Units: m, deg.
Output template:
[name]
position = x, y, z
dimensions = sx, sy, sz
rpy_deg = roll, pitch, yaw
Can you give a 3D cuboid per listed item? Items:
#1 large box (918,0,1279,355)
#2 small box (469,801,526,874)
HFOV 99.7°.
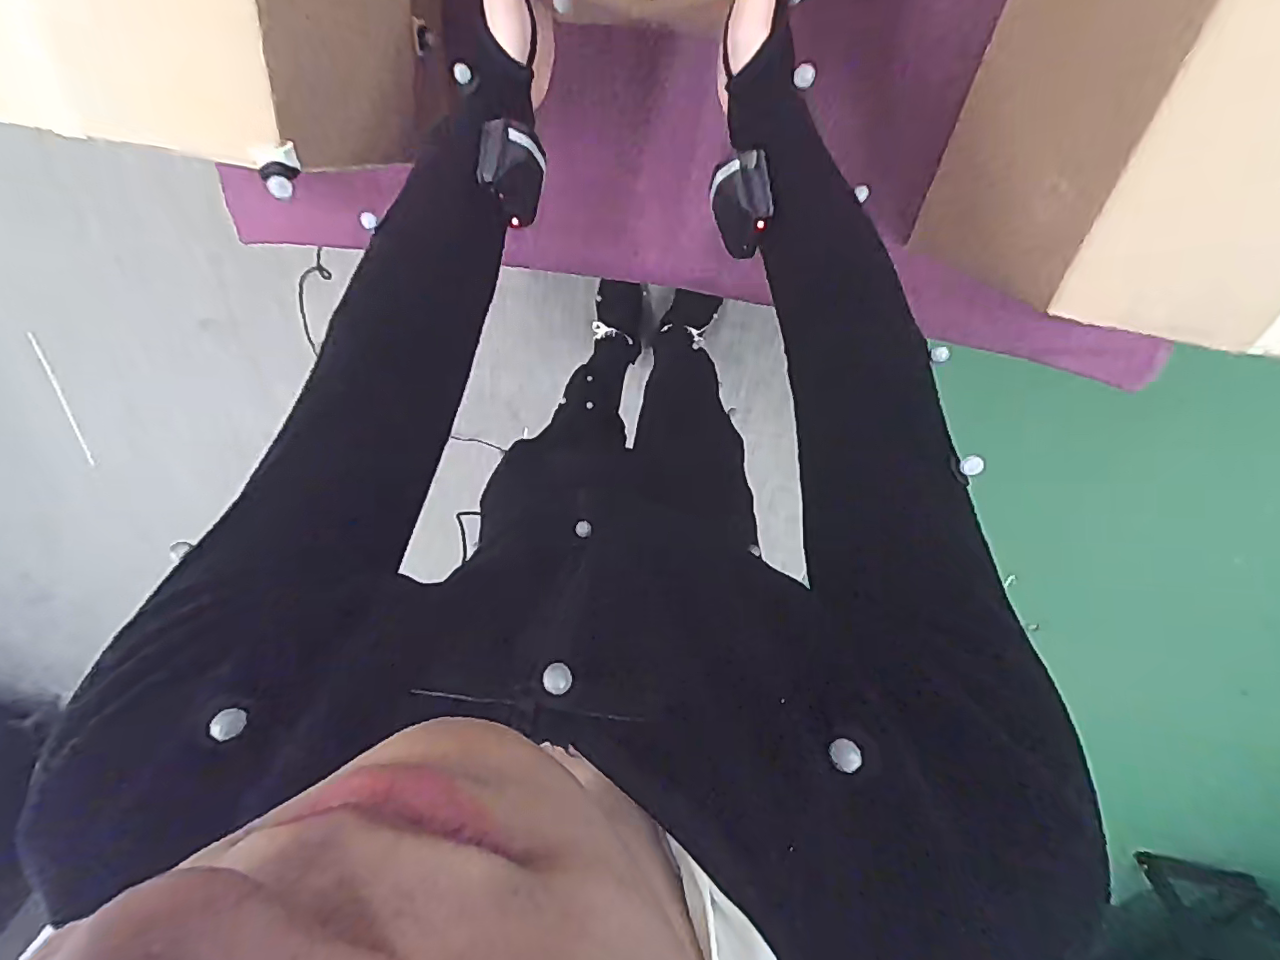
[large box]
position = 0.494, -0.342, 0.421
dimensions = 0.320, 0.320, 0.408
rpy_deg = 11, 123, 0
[small box]
position = -0.527, 1.323, 2.007
dimensions = 0.168, 0.176, 0.179
rpy_deg = 8, 124, 0
